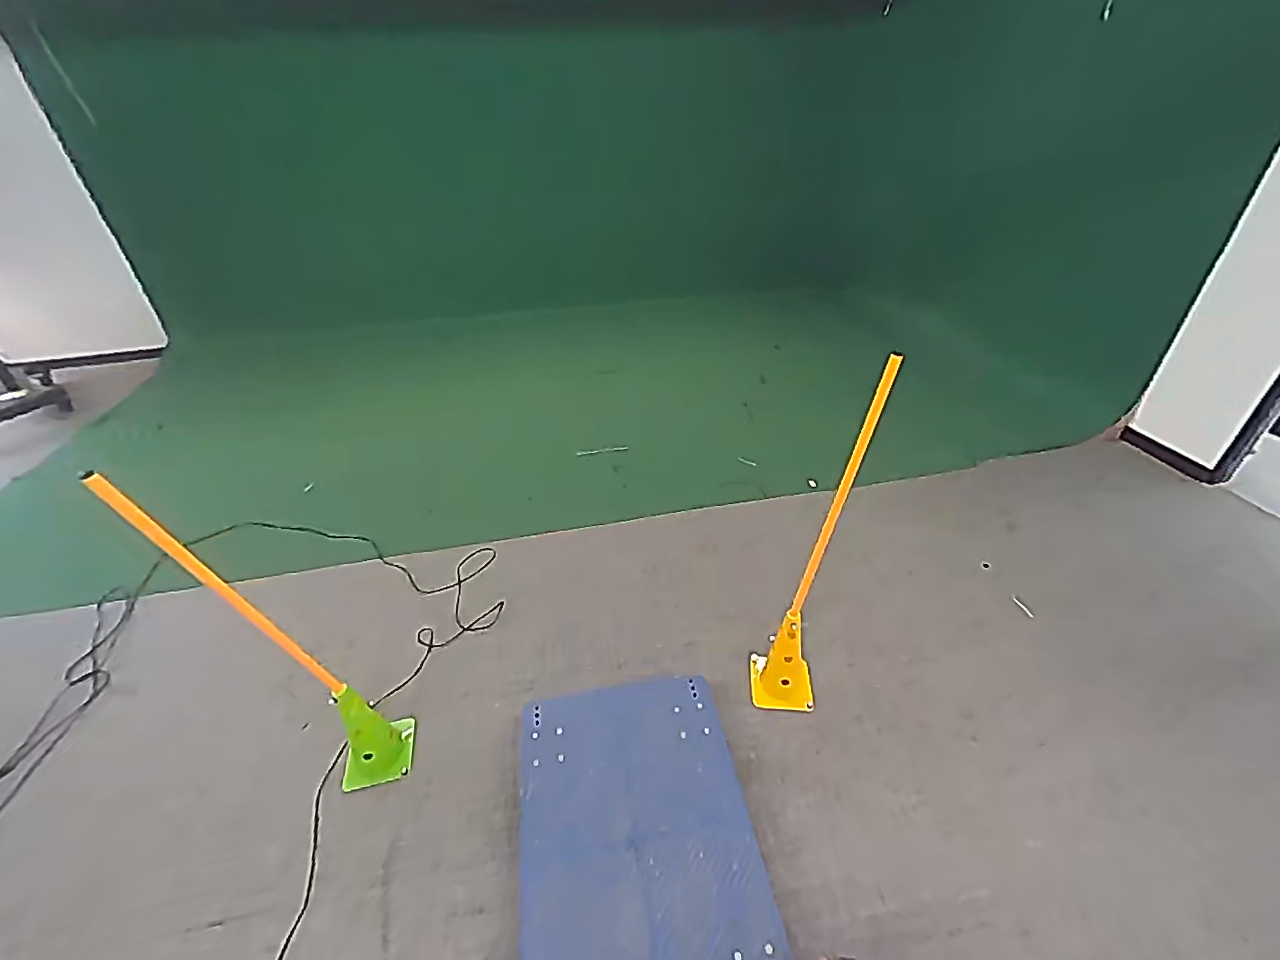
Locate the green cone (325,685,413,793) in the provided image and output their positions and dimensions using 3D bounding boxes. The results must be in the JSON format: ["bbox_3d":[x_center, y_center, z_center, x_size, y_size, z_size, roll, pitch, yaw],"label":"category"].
[{"bbox_3d":[-0.840,0.730,1.612,0.202,0.368,0.200,-12,36,-9],"label":"green cone"}]
